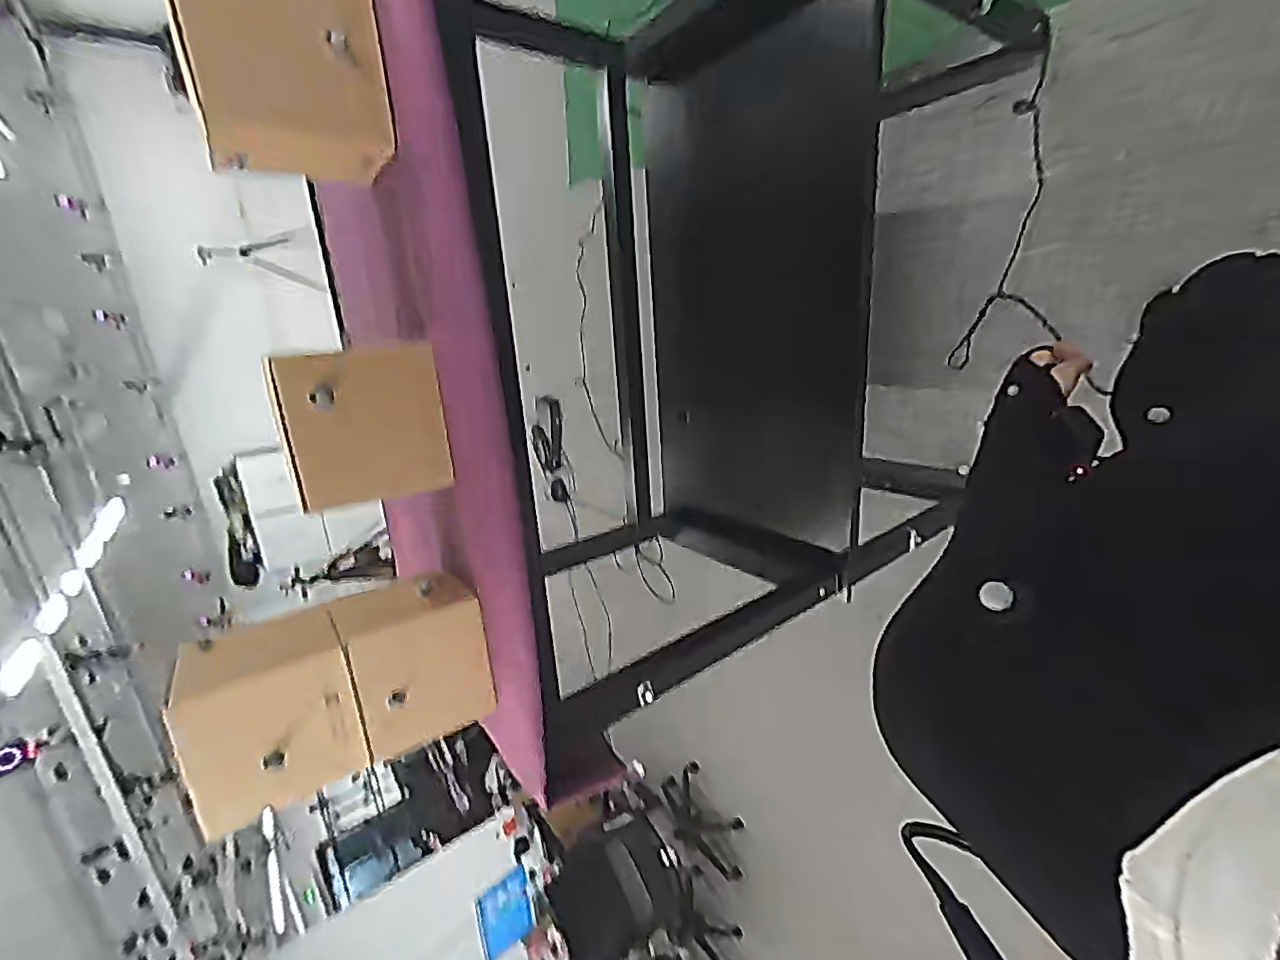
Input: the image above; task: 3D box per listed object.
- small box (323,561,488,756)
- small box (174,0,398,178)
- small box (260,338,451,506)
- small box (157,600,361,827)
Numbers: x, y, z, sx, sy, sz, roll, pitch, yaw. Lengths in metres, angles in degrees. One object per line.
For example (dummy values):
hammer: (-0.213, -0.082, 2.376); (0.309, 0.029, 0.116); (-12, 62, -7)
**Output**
small box: (-0.326, 0.235, 0.760); (0.168, 0.176, 0.179); (12, 111, 52)
small box: (-0.374, -0.442, 0.573); (0.168, 0.176, 0.179); (19, 117, 53)
small box: (-0.354, -0.086, 0.679); (0.168, 0.176, 0.179); (19, 117, 52)
small box: (-0.458, 0.268, 0.672); (0.179, 0.176, 0.168); (11, 111, 53)
